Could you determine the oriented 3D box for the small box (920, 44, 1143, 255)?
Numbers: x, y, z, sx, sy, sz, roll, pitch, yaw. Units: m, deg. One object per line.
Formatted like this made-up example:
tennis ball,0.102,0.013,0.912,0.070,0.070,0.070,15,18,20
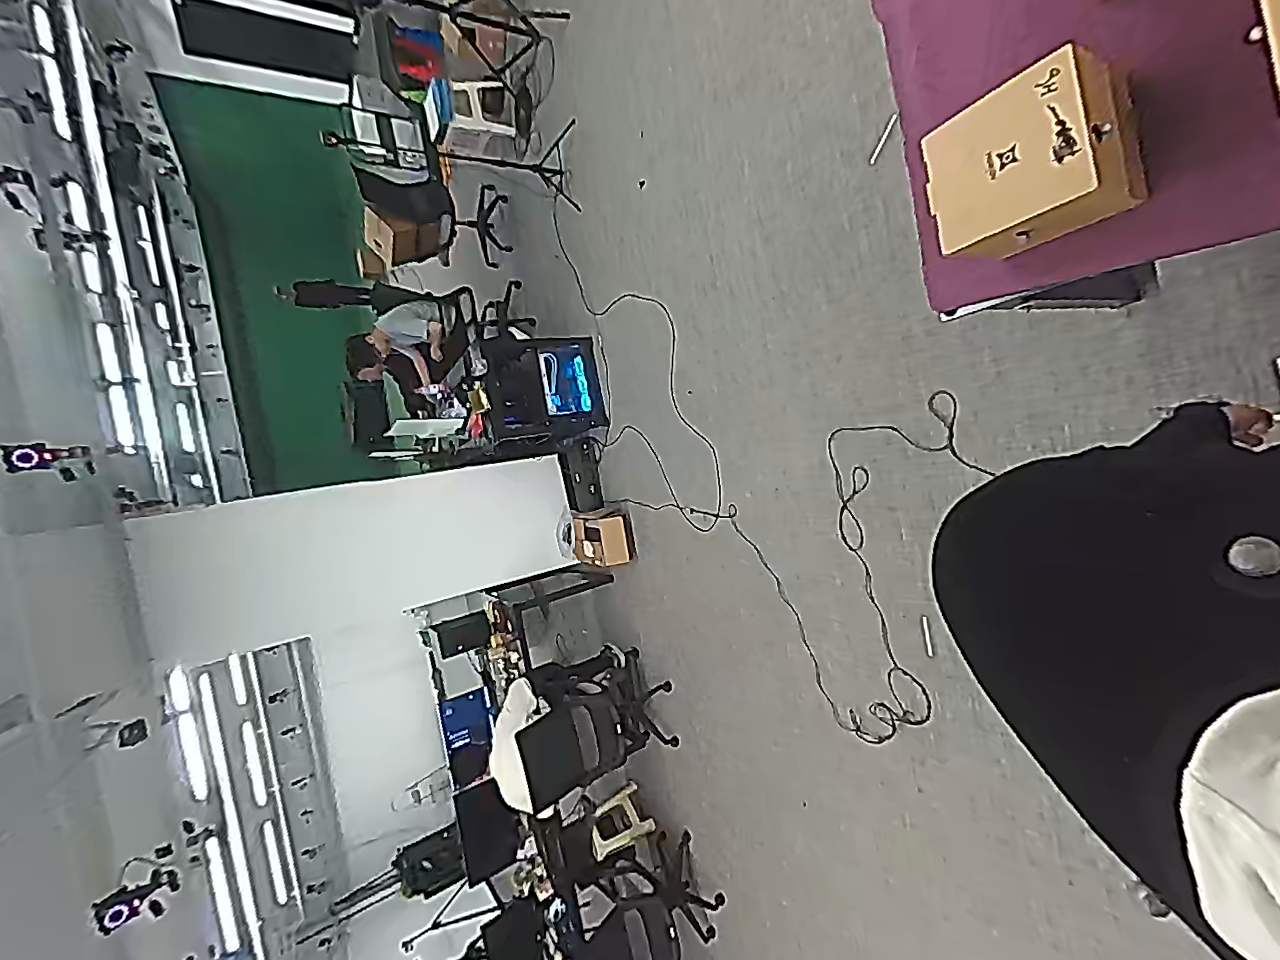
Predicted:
small box,0.509,-0.410,0.711,0.179,0.176,0.168,-9,93,59
